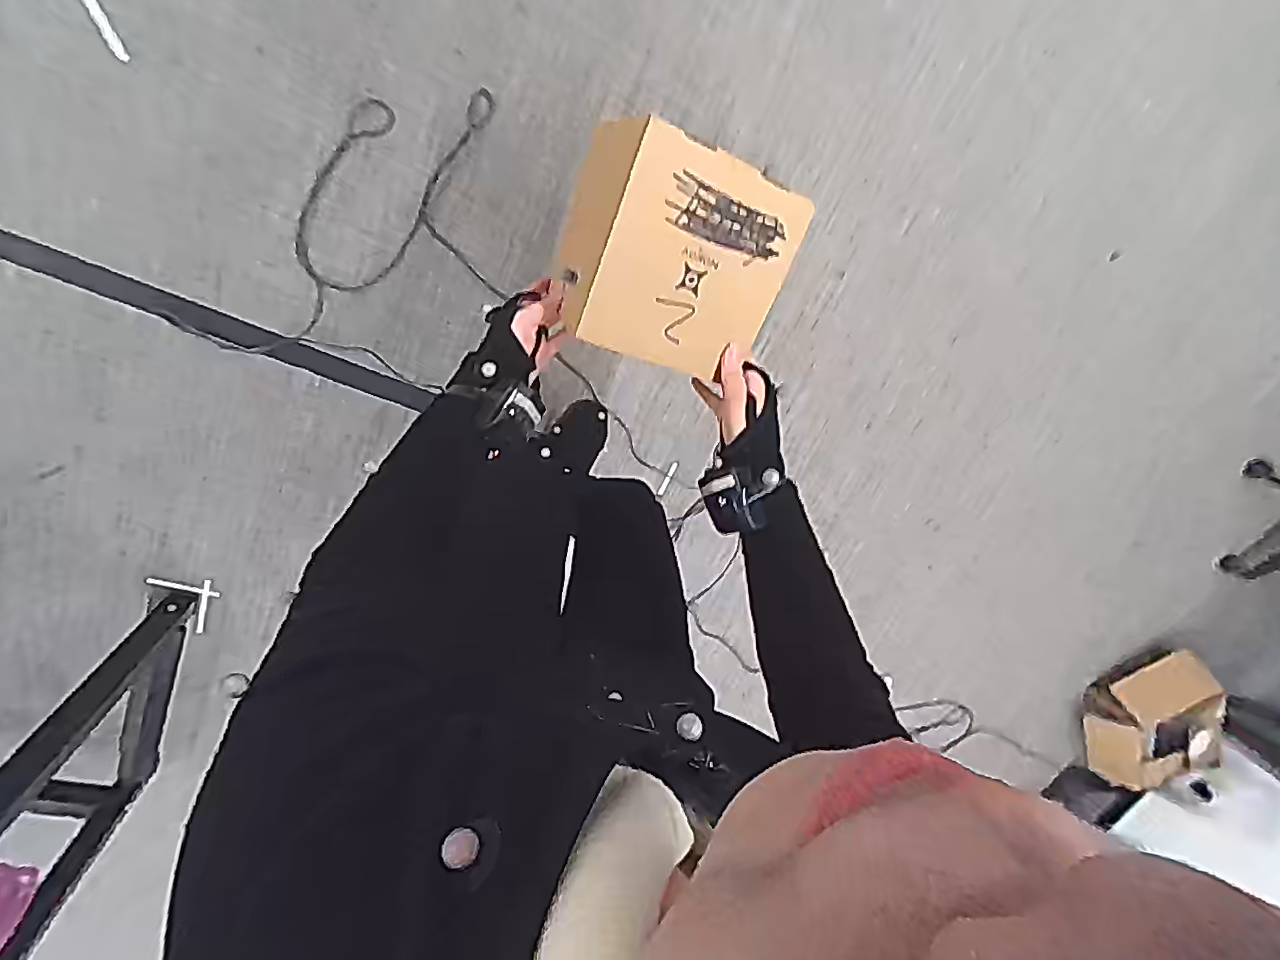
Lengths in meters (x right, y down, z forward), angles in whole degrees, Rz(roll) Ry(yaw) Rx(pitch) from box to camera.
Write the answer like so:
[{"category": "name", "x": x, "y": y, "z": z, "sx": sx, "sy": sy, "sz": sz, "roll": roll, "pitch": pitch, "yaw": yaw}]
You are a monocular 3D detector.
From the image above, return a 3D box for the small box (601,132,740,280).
[{"category": "small box", "x": 0.044, "y": -0.485, "z": 0.981, "sx": 0.179, "sy": 0.176, "sz": 0.168, "roll": 26, "pitch": 106, "yaw": -21}]
